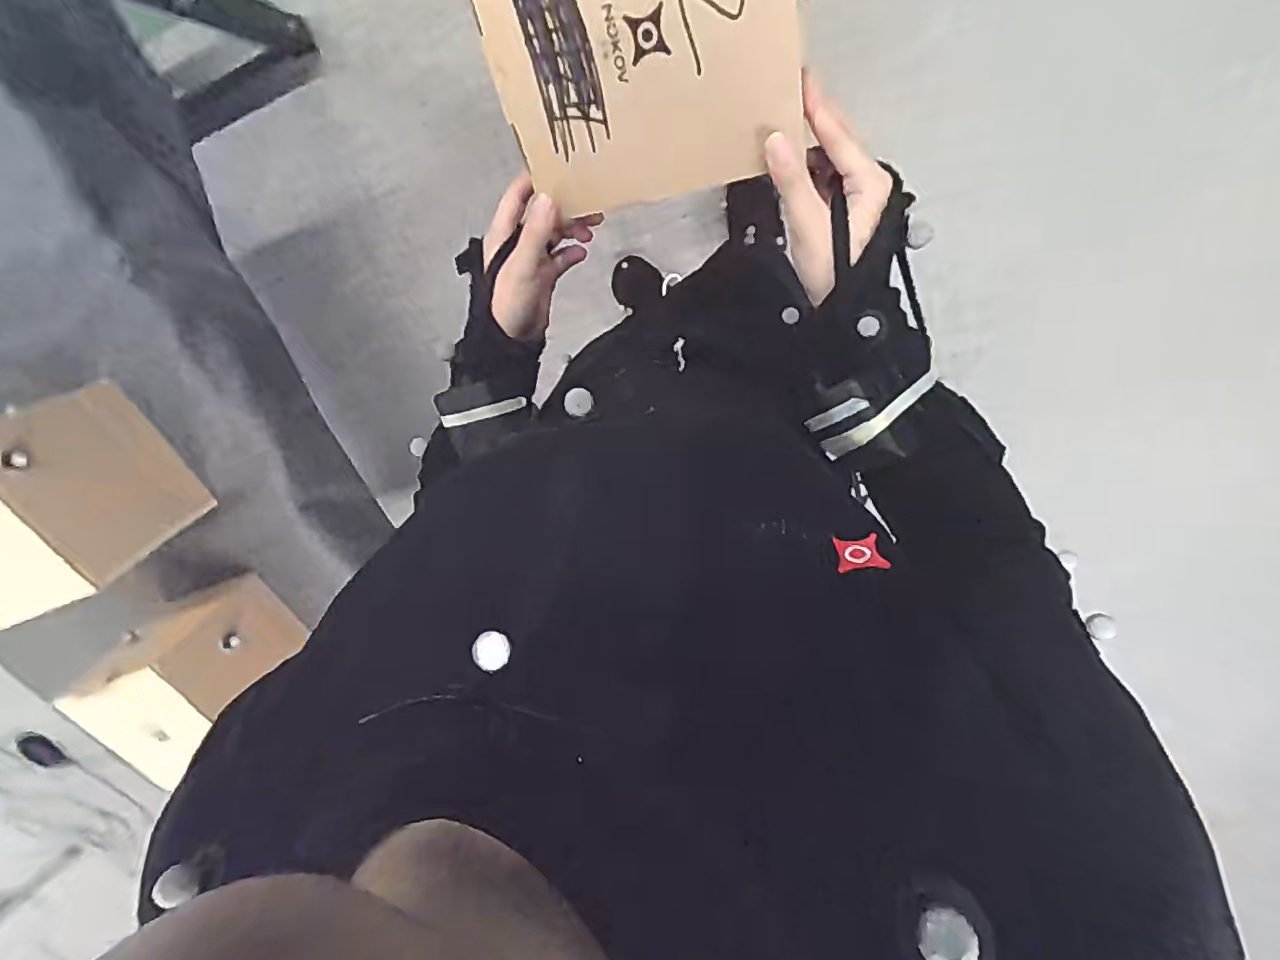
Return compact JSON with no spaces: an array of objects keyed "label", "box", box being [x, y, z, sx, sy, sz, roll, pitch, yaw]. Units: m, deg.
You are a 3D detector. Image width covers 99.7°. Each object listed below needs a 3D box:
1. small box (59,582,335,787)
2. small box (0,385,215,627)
[{"label":"small box","box":[-0.551,0.254,0.701,0.168,0.176,0.179,-20,116,15]},{"label":"small box","box":[-0.627,0.022,0.584,0.168,0.176,0.179,-19,115,13]}]
